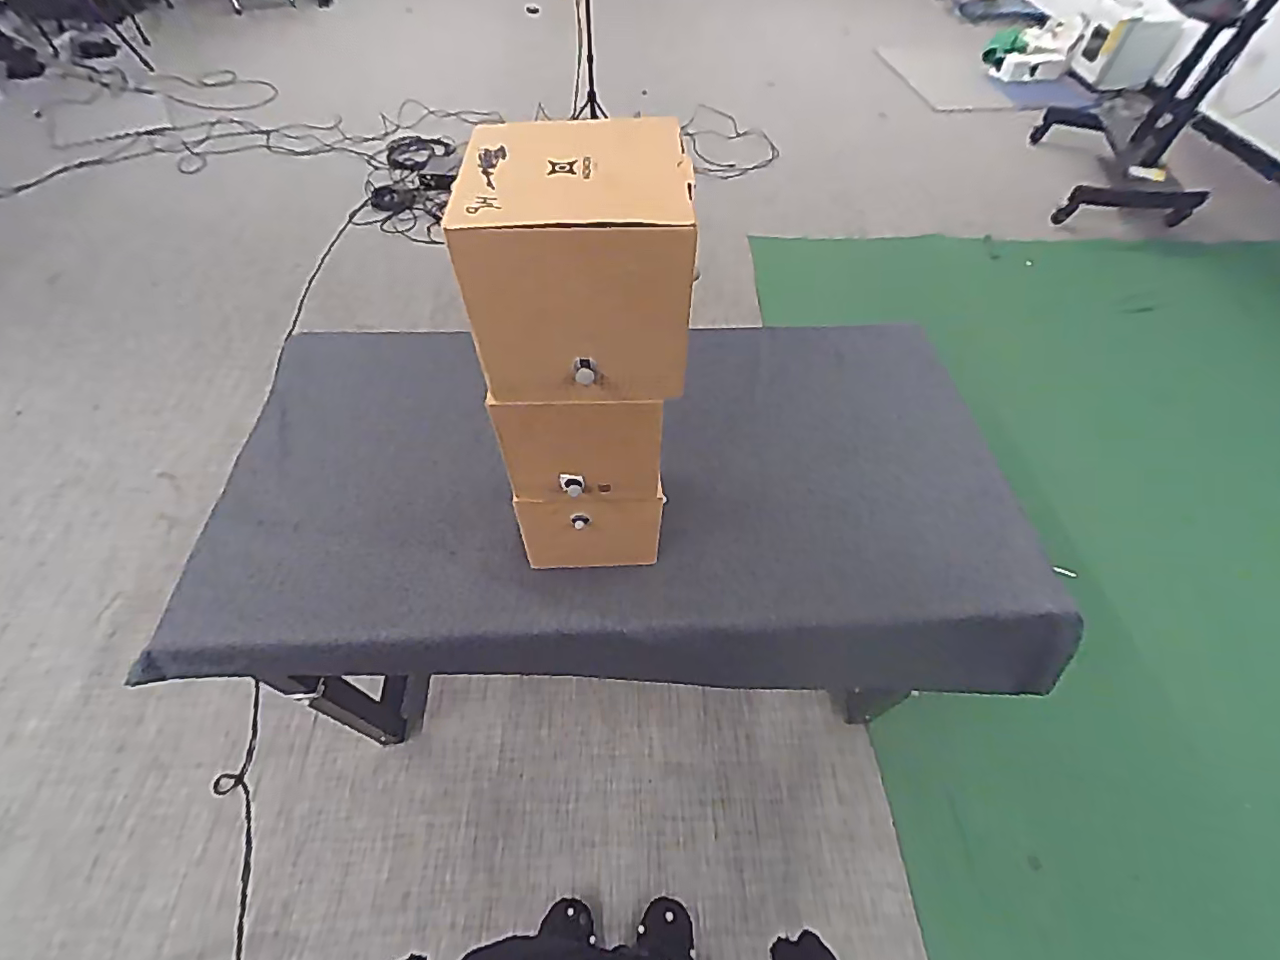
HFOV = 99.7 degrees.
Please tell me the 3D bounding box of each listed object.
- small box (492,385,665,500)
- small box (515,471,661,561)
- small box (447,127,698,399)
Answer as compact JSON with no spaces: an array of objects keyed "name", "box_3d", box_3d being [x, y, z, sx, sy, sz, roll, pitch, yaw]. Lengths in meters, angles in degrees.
[{"name":"small box","box_3d":[-0.060,-0.095,0.619,0.168,0.176,0.179,-2,55,-1]},{"name":"small box","box_3d":[-0.066,0.002,0.748,0.179,0.176,0.168,-1,54,-4]},{"name":"small box","box_3d":[-0.050,-0.186,0.484,0.179,0.176,0.168,-1,54,-2]}]
